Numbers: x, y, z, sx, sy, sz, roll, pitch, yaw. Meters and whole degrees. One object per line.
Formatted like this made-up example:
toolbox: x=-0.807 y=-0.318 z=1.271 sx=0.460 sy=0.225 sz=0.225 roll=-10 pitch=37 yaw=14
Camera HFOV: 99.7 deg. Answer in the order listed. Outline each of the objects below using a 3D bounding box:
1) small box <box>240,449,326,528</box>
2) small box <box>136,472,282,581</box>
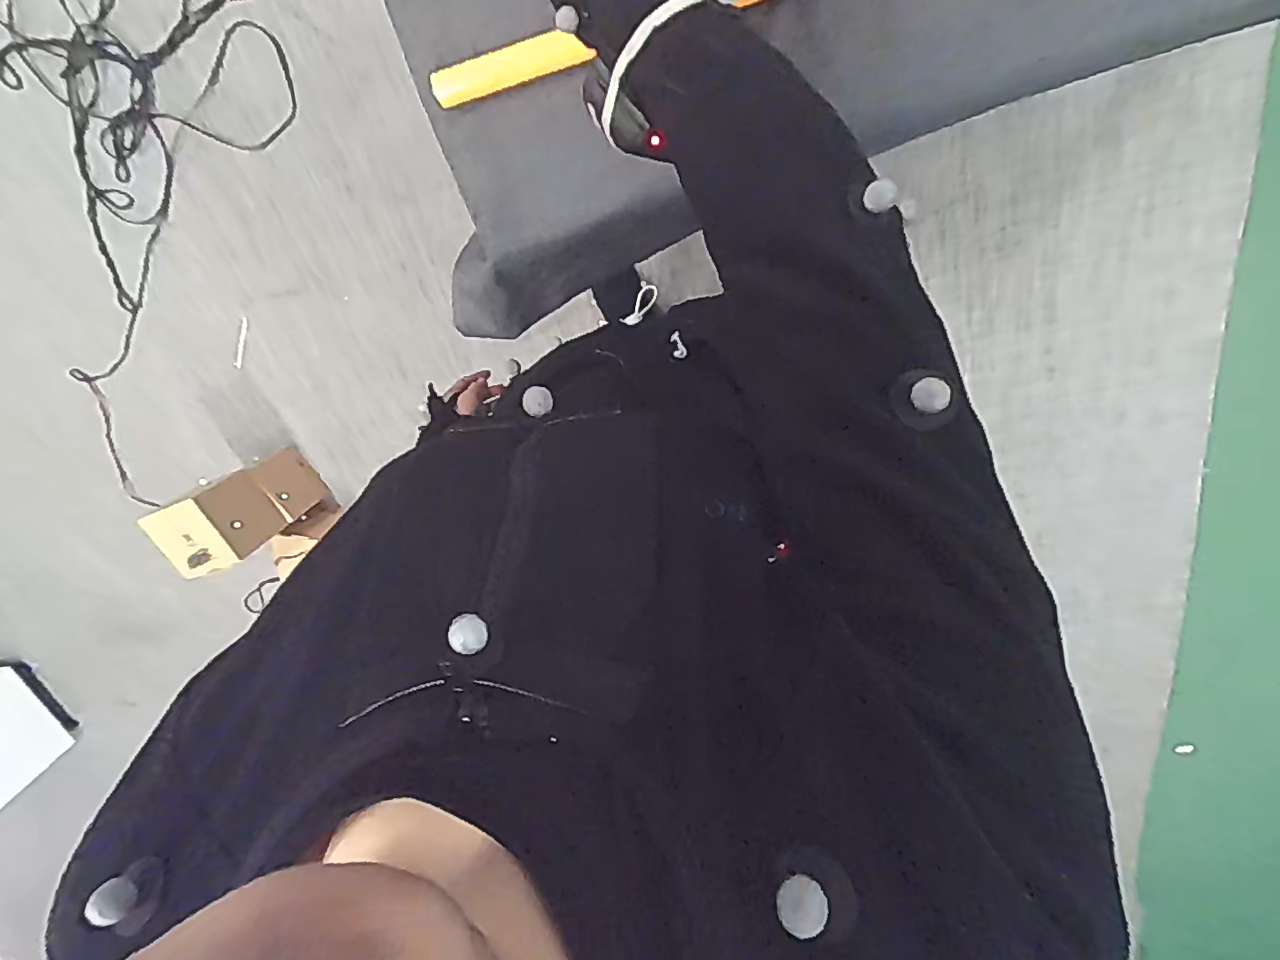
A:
small box: x=-0.991 y=0.041 z=1.438 sx=0.179 sy=0.176 sz=0.168 roll=-22 pitch=112 yaw=14
small box: x=-1.010 y=0.106 z=1.288 sx=0.168 sy=0.176 sz=0.179 roll=-18 pitch=113 yaw=12
